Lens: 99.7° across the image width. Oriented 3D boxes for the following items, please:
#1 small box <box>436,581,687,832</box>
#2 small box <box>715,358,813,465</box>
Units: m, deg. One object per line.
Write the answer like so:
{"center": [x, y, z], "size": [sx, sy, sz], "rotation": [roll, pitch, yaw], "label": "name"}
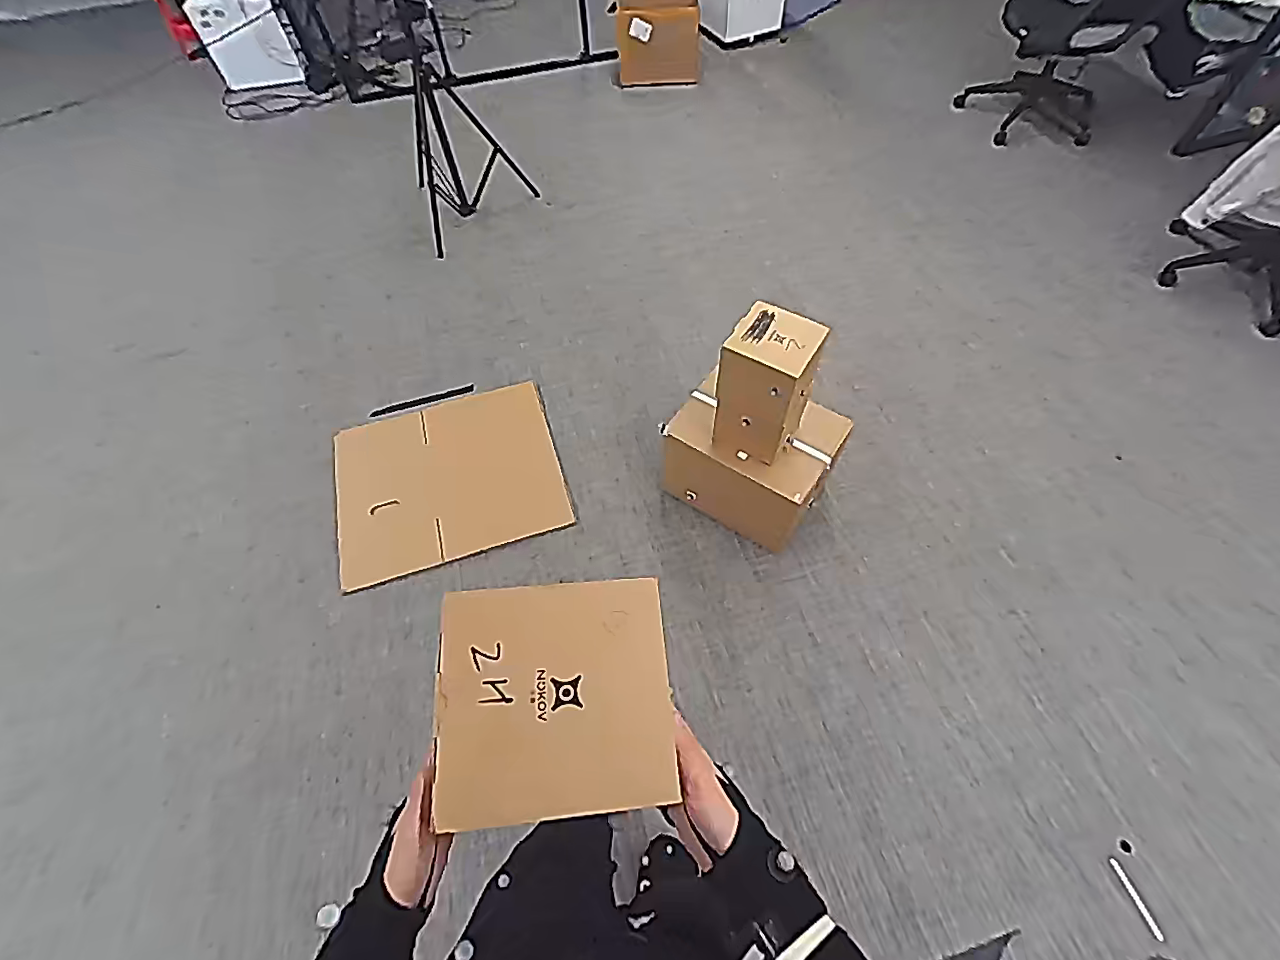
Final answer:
{"center": [-0.067, 0.191, 0.478], "size": [0.179, 0.176, 0.168], "rotation": [-3, 66, -7], "label": "small box"}
{"center": [0.300, -0.165, 1.347], "size": [0.179, 0.176, 0.168], "rotation": [28, 64, 17], "label": "small box"}
